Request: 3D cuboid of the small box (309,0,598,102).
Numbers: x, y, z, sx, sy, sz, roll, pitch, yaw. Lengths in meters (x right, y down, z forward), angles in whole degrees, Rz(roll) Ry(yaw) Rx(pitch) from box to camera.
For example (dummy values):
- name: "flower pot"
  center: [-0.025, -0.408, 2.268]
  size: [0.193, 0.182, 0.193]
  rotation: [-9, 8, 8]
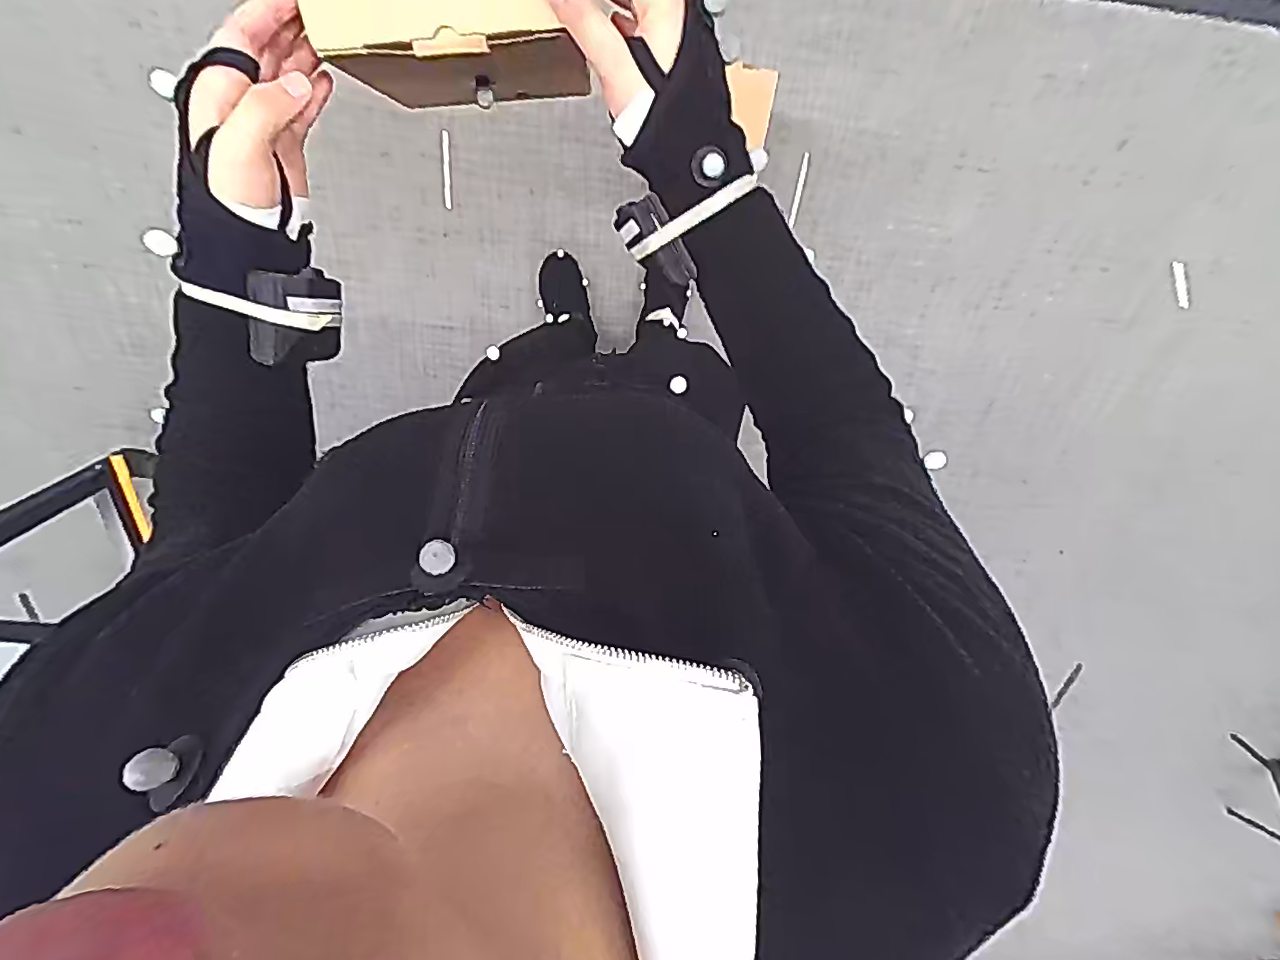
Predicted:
- name: "small box"
  center: [-0.119, -0.371, 0.363]
  size: [0.168, 0.176, 0.179]
  rotation: [-5, 117, 0]

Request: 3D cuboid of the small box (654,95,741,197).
- name: "small box"
  center: [0.129, -0.701, 1.138]
  size: [0.179, 0.176, 0.168]
  rotation: [4, 118, -4]

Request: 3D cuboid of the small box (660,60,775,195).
- name: "small box"
  center: [0.129, -0.634, 0.989]
  size: [0.168, 0.176, 0.179]
  rotation: [6, 120, -4]
